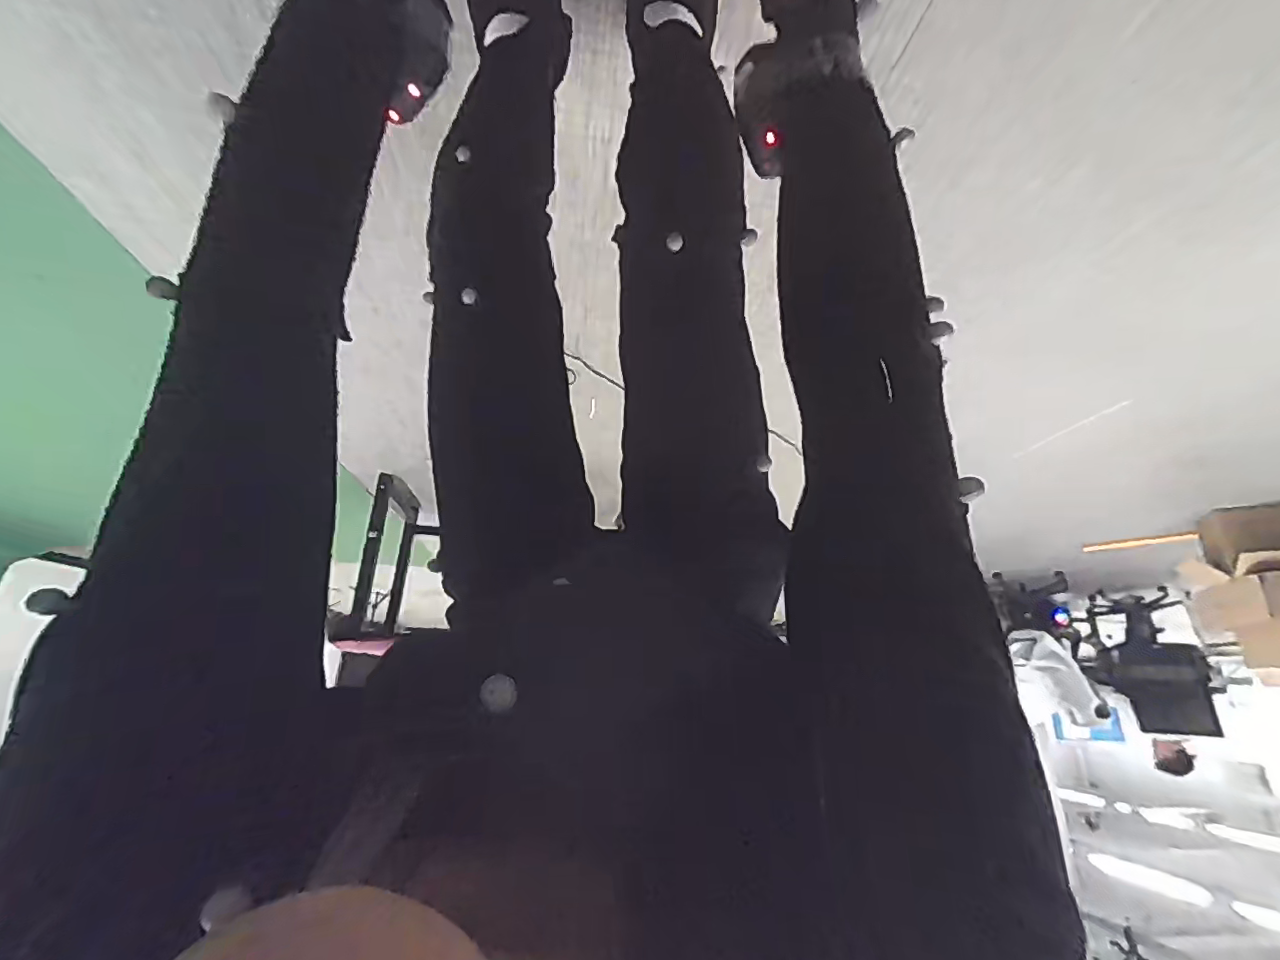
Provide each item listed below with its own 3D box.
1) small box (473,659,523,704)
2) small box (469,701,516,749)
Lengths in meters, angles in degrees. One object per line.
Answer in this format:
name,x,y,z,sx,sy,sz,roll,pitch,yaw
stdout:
small box,-0.593,0.849,2.288,0.179,0.176,0.168,4,159,-2
small box,-0.602,1.000,2.223,0.168,0.176,0.179,6,159,-9
